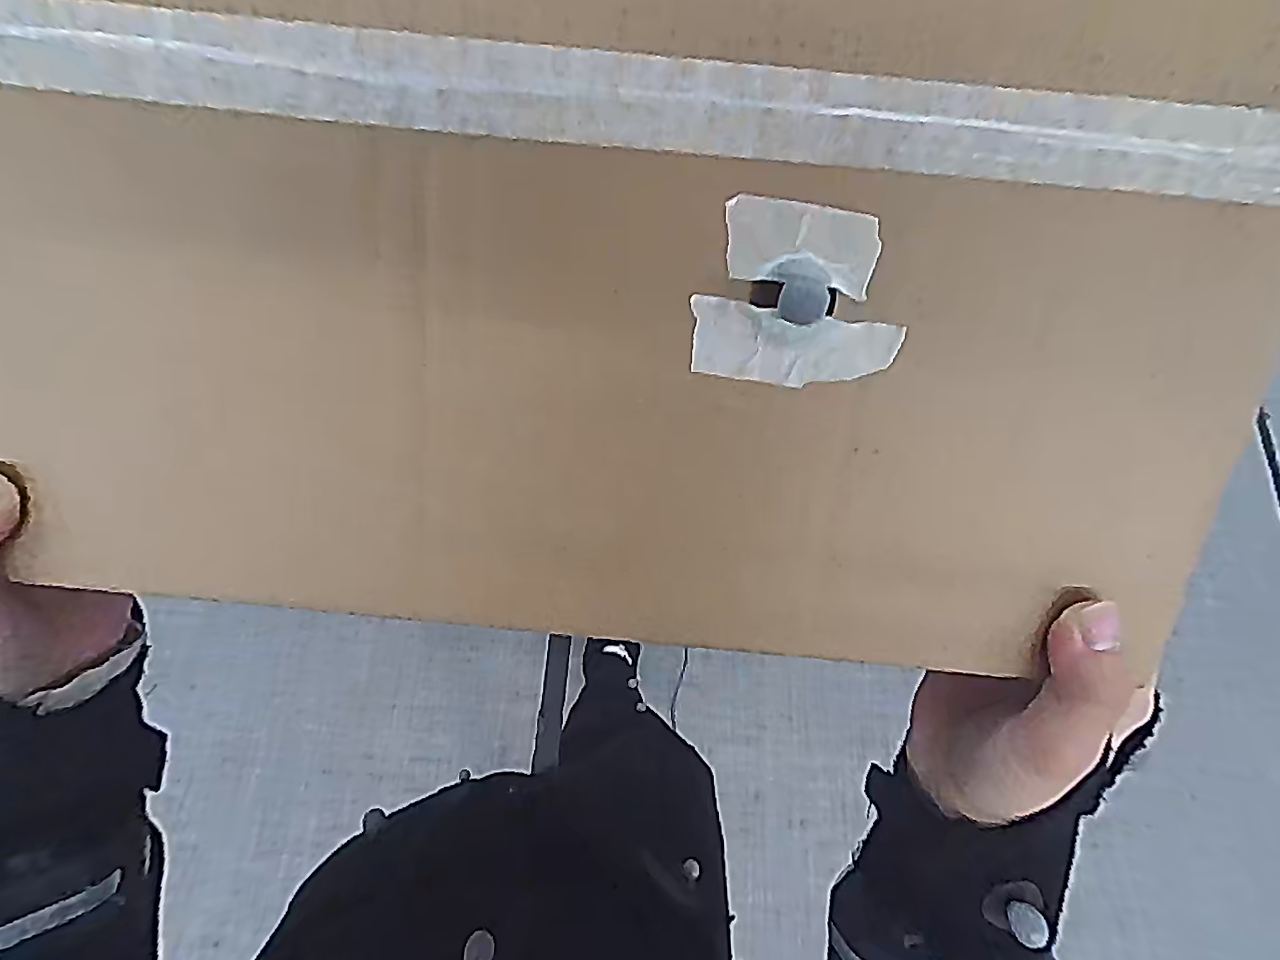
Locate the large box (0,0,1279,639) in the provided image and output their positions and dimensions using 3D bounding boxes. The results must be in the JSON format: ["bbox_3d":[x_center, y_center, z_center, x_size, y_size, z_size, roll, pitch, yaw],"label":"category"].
[{"bbox_3d":[-0.014,-0.137,0.303,0.408,0.320,0.320,5,104,-1],"label":"large box"}]
